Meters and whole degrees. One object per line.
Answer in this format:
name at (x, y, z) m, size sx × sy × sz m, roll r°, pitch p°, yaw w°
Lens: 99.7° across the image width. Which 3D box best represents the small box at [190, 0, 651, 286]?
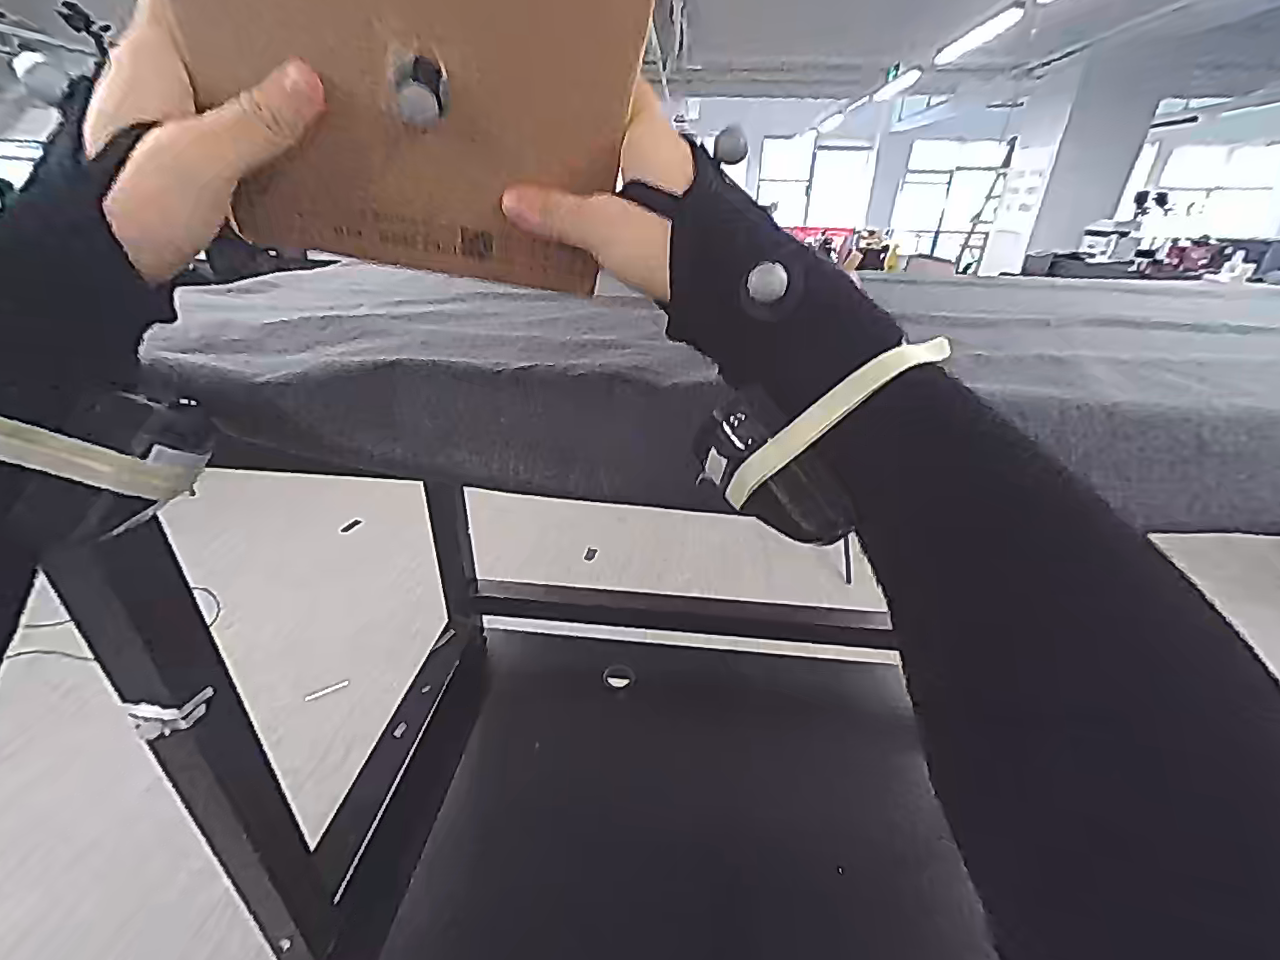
small box at (-0.088, -0.220, 0.263) m, size 0.168 × 0.176 × 0.179 m, roll 6°, pitch 49°, yaw -14°
